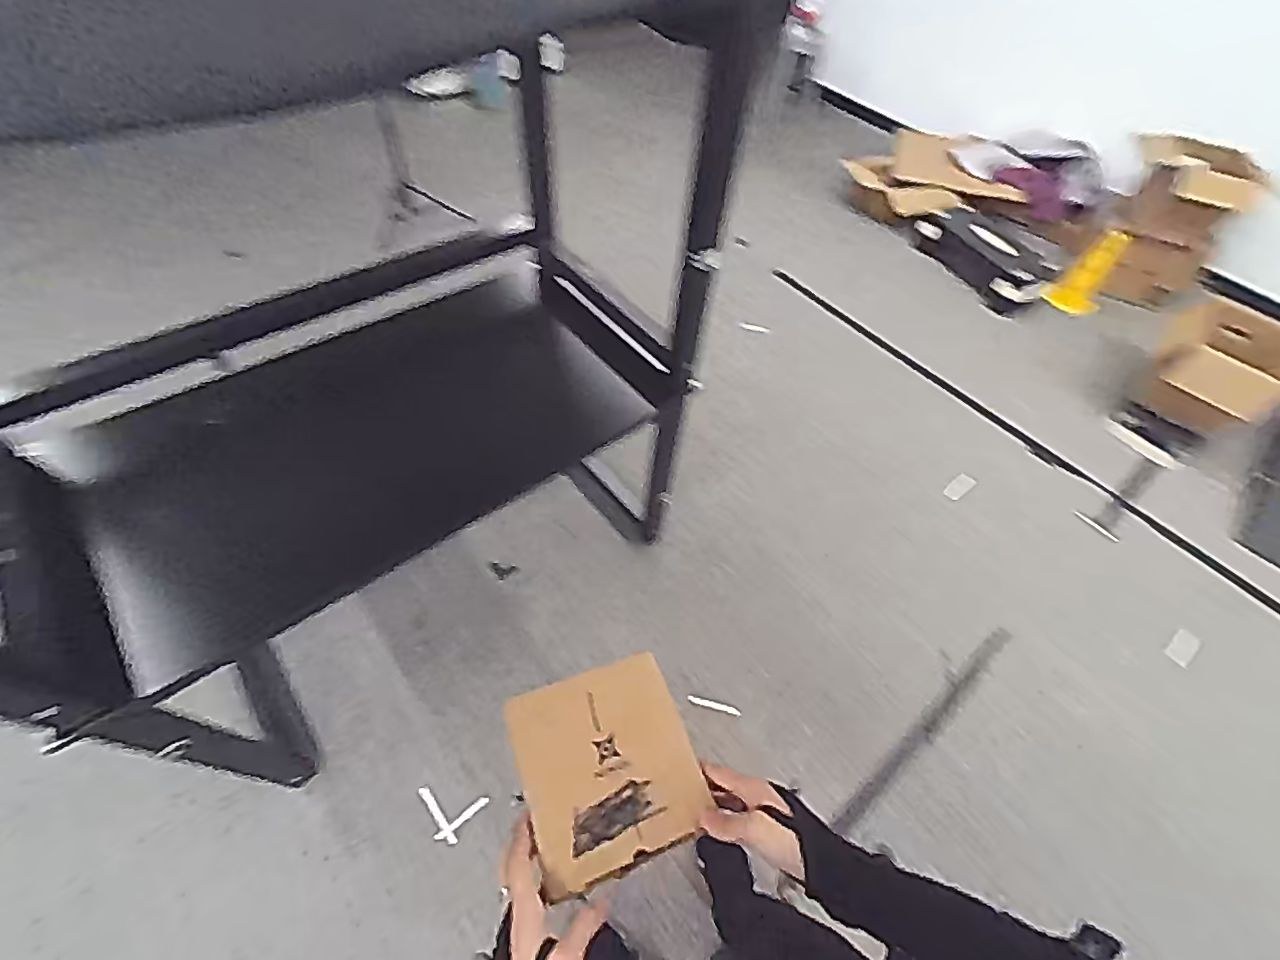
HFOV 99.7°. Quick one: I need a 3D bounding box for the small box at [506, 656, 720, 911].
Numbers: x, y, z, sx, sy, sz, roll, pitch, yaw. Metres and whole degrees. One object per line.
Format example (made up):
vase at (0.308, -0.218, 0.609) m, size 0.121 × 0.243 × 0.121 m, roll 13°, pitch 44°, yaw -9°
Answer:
small box at (-0.039, 0.321, 0.576) m, size 0.168 × 0.176 × 0.179 m, roll -12°, pitch 53°, yaw -20°
